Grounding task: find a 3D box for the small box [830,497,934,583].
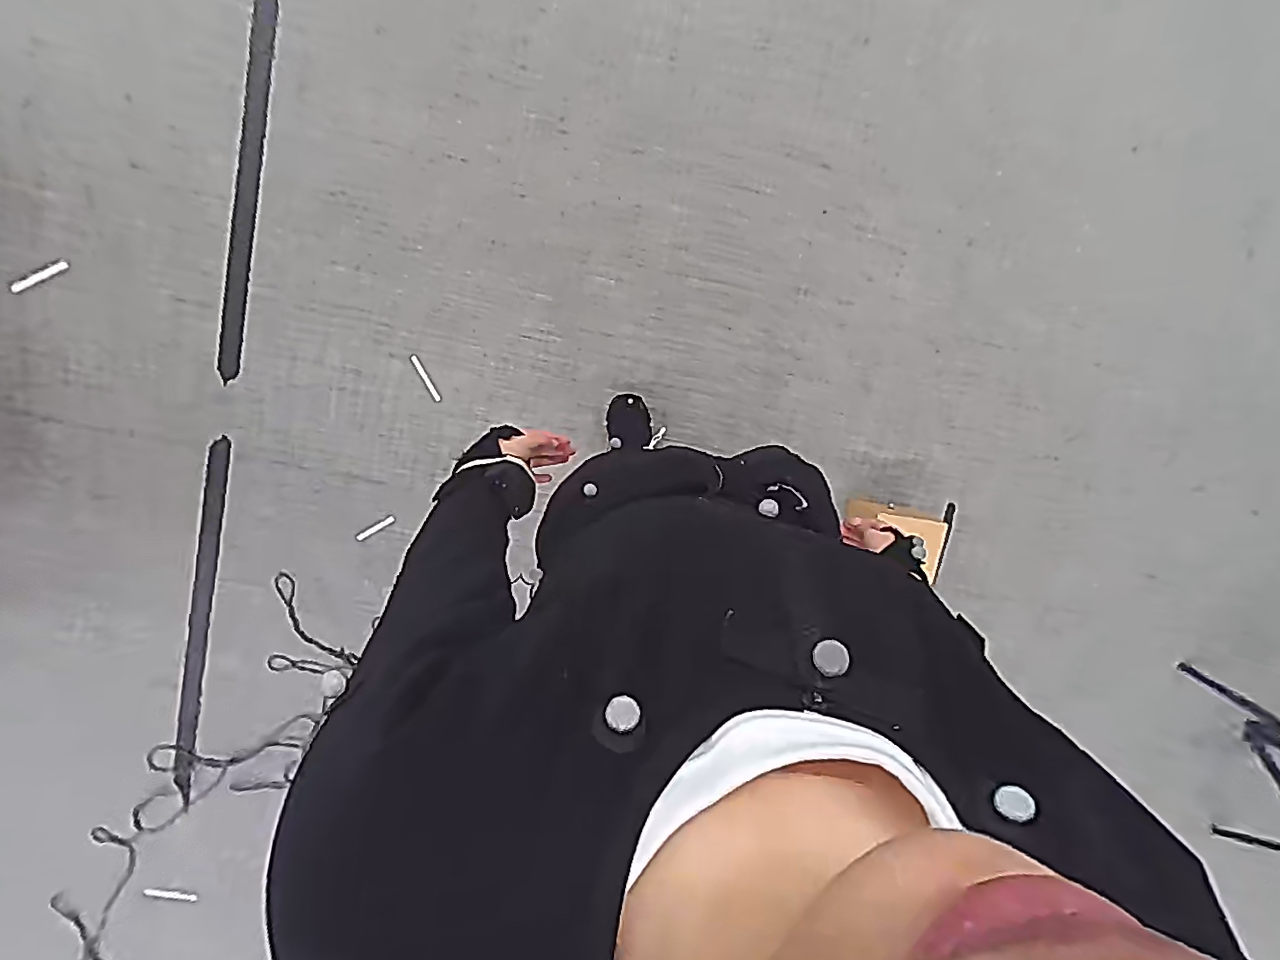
[{"bbox_3d":[0.609,0.149,1.362,0.179,0.176,0.168,9,99,-6],"label":"small box"}]
